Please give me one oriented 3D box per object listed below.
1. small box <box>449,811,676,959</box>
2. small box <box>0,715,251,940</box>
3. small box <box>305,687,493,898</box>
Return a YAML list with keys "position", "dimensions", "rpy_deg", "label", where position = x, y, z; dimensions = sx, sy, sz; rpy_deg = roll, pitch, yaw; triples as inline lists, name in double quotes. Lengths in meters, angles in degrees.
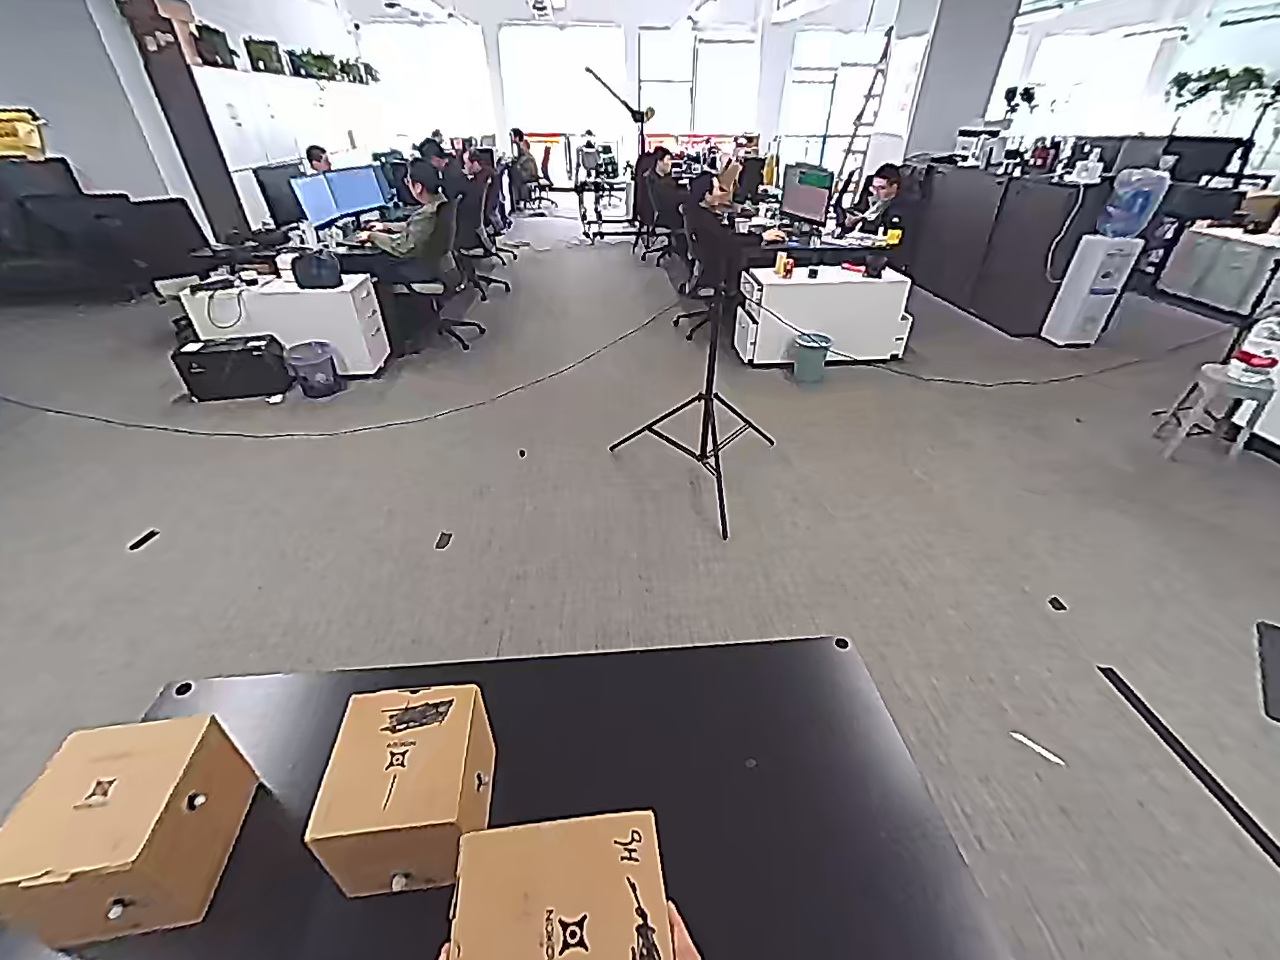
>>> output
- position: [-0.064, 0.422, 0.473]
  dimensions: [0.179, 0.176, 0.168]
  rpy_deg: [-2, 38, -8]
  label: "small box"
- position: [-0.619, 0.423, 0.659]
  dimensions: [0.168, 0.176, 0.179]
  rpy_deg: [-4, 34, -9]
  label: "small box"
- position: [-0.290, 0.398, 0.699]
  dimensions: [0.168, 0.176, 0.179]
  rpy_deg: [-3, 35, -5]
  label: "small box"
